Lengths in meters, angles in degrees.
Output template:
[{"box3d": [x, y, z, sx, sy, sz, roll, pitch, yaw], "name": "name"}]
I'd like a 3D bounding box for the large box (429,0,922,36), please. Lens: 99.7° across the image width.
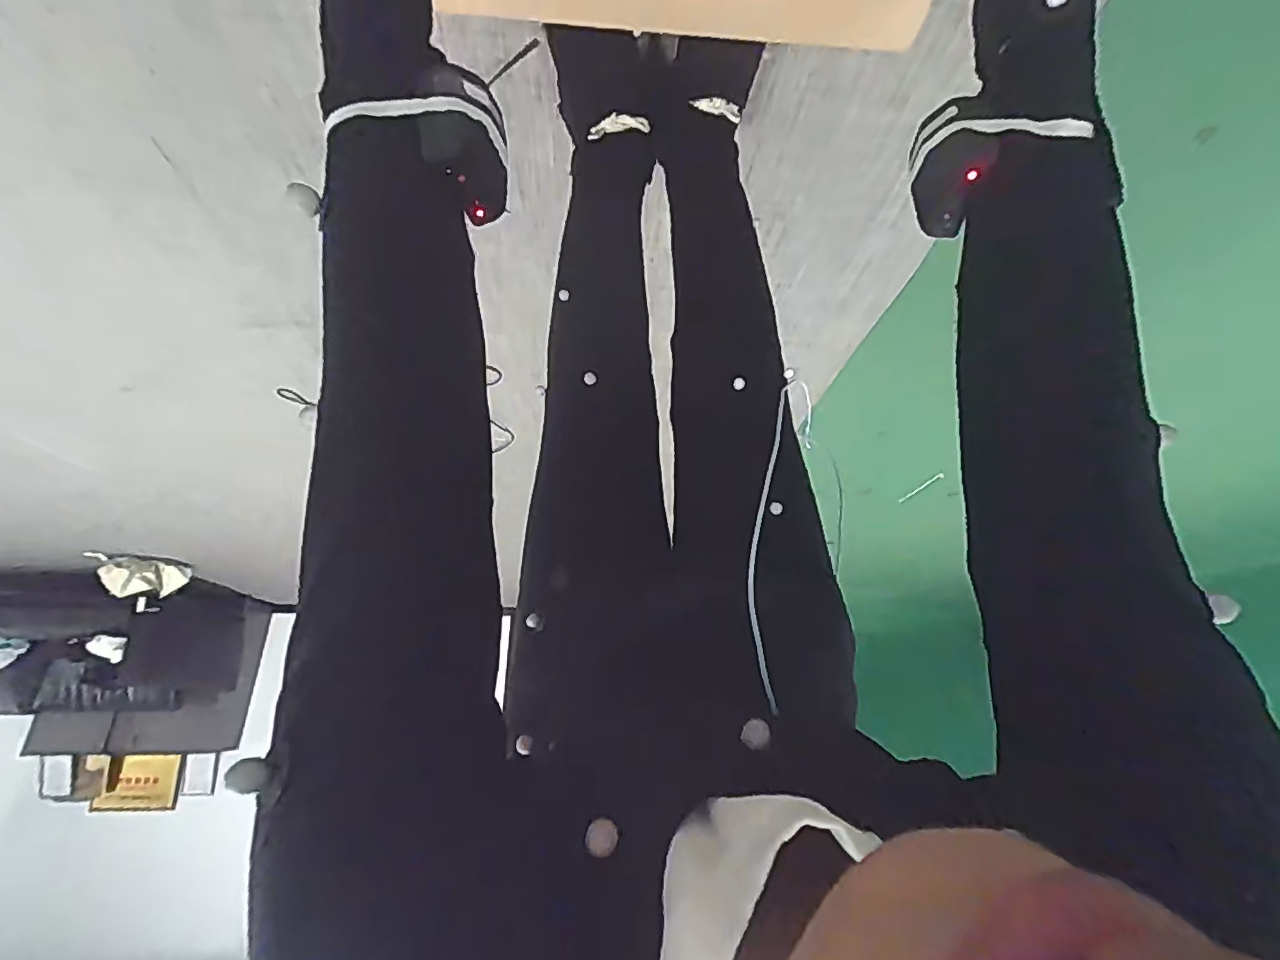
[{"box3d": [0.032, -0.573, 0.365, 0.408, 0.320, 0.320, 1, 158, -3], "name": "large box"}]
